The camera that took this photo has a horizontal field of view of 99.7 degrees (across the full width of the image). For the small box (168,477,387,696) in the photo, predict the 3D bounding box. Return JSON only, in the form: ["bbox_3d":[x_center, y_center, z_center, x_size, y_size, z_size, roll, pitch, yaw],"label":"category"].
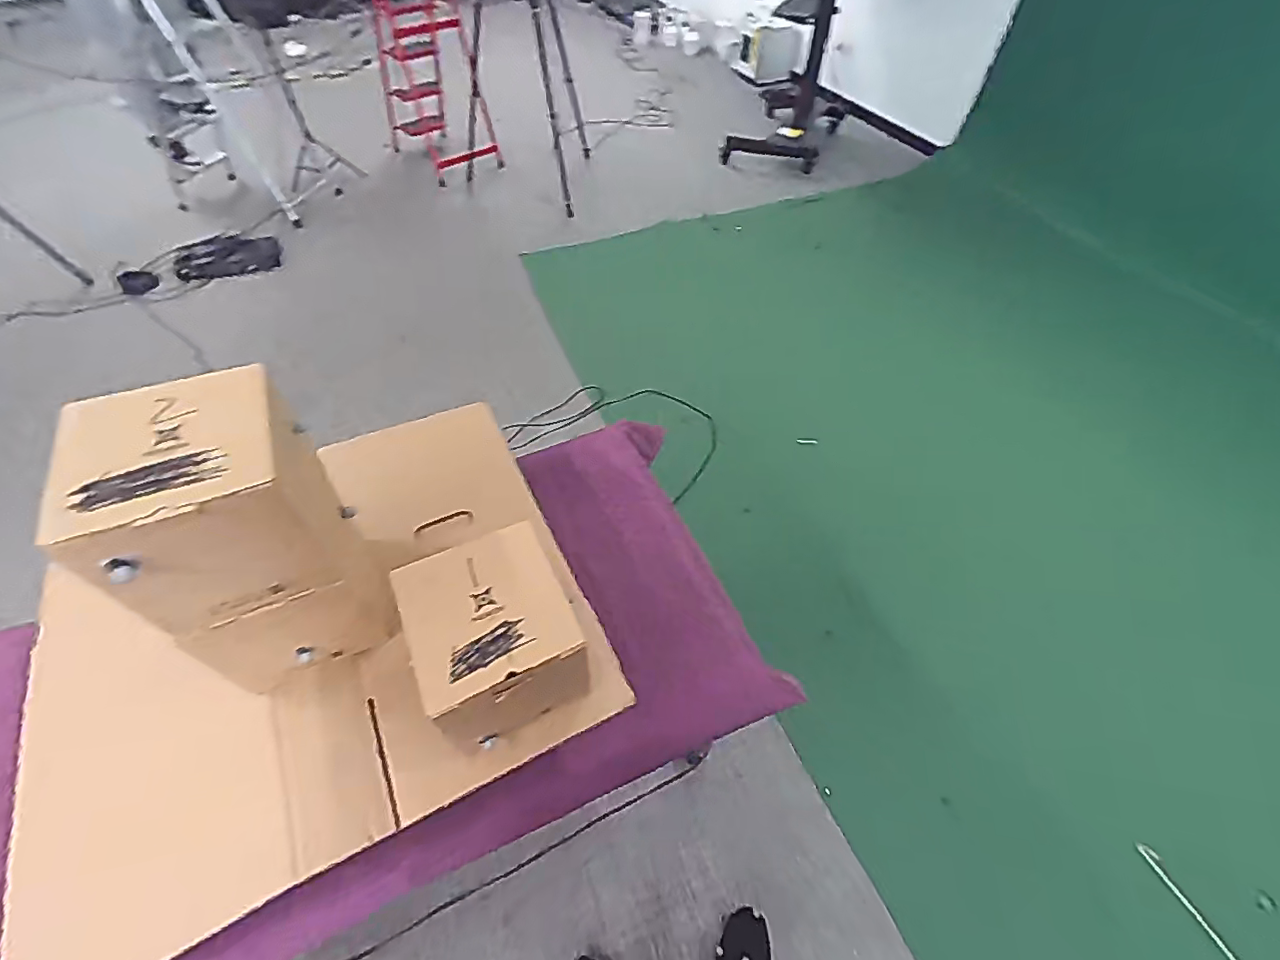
[{"bbox_3d":[-0.433,0.131,0.665,0.168,0.176,0.179,-20,56,-19],"label":"small box"}]

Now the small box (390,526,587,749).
[{"bbox_3d":[-0.168,0.192,0.637,0.168,0.176,0.179,-21,55,-19],"label":"small box"}]
